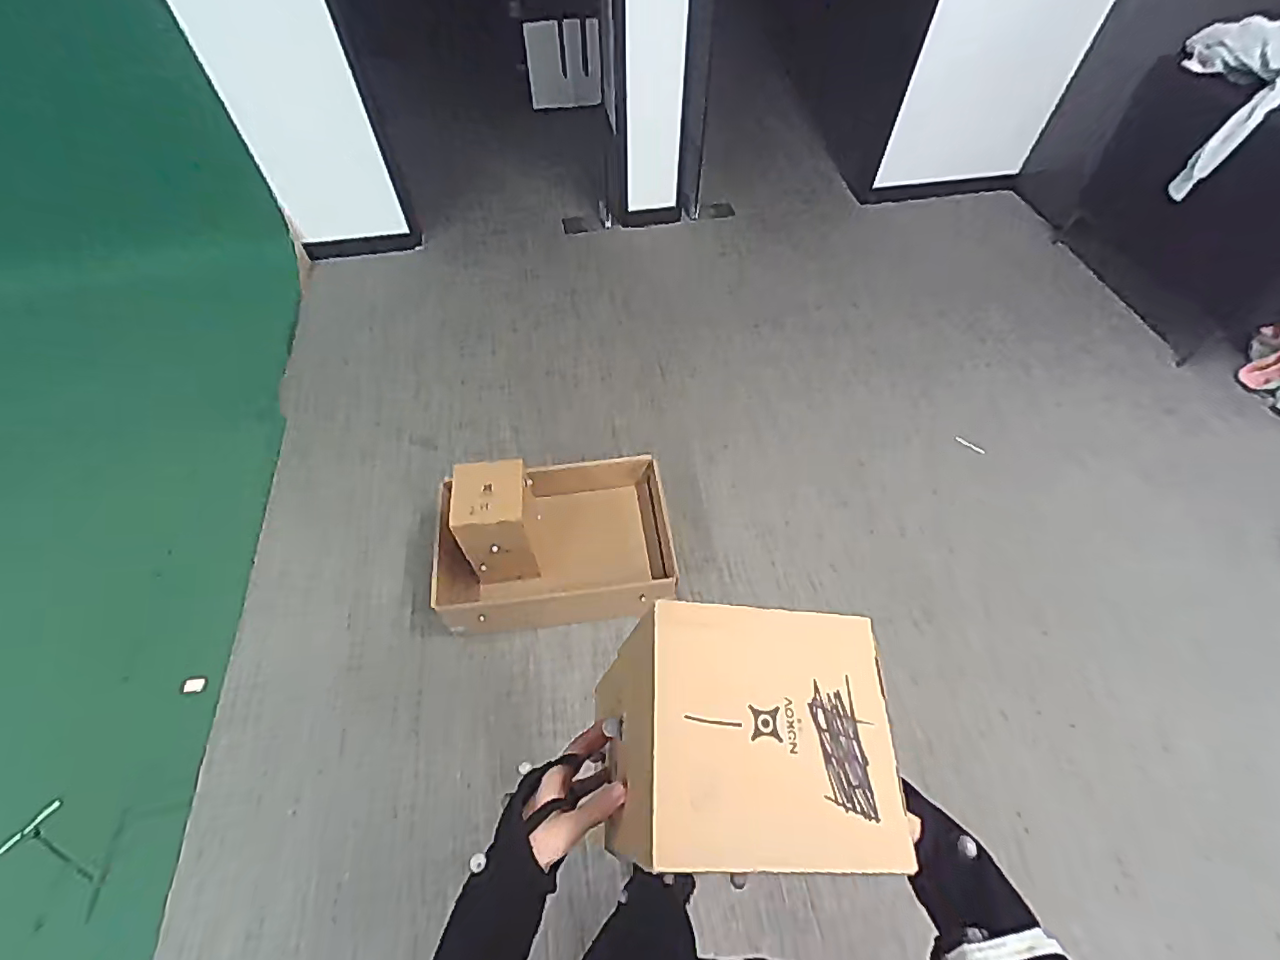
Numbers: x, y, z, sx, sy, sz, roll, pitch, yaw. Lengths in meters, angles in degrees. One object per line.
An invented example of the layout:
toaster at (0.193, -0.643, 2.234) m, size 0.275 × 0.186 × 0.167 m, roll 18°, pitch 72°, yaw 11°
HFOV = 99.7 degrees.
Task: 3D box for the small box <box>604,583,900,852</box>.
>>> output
small box at (0.072, 0.197, 0.443) m, size 0.179 × 0.176 × 0.168 m, roll 6°, pitch 58°, yaw -8°

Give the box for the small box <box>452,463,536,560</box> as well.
small box at (-0.355, 0.080, 1.341) m, size 0.168 × 0.176 × 0.179 m, roll -5°, pitch 56°, yaw -3°
